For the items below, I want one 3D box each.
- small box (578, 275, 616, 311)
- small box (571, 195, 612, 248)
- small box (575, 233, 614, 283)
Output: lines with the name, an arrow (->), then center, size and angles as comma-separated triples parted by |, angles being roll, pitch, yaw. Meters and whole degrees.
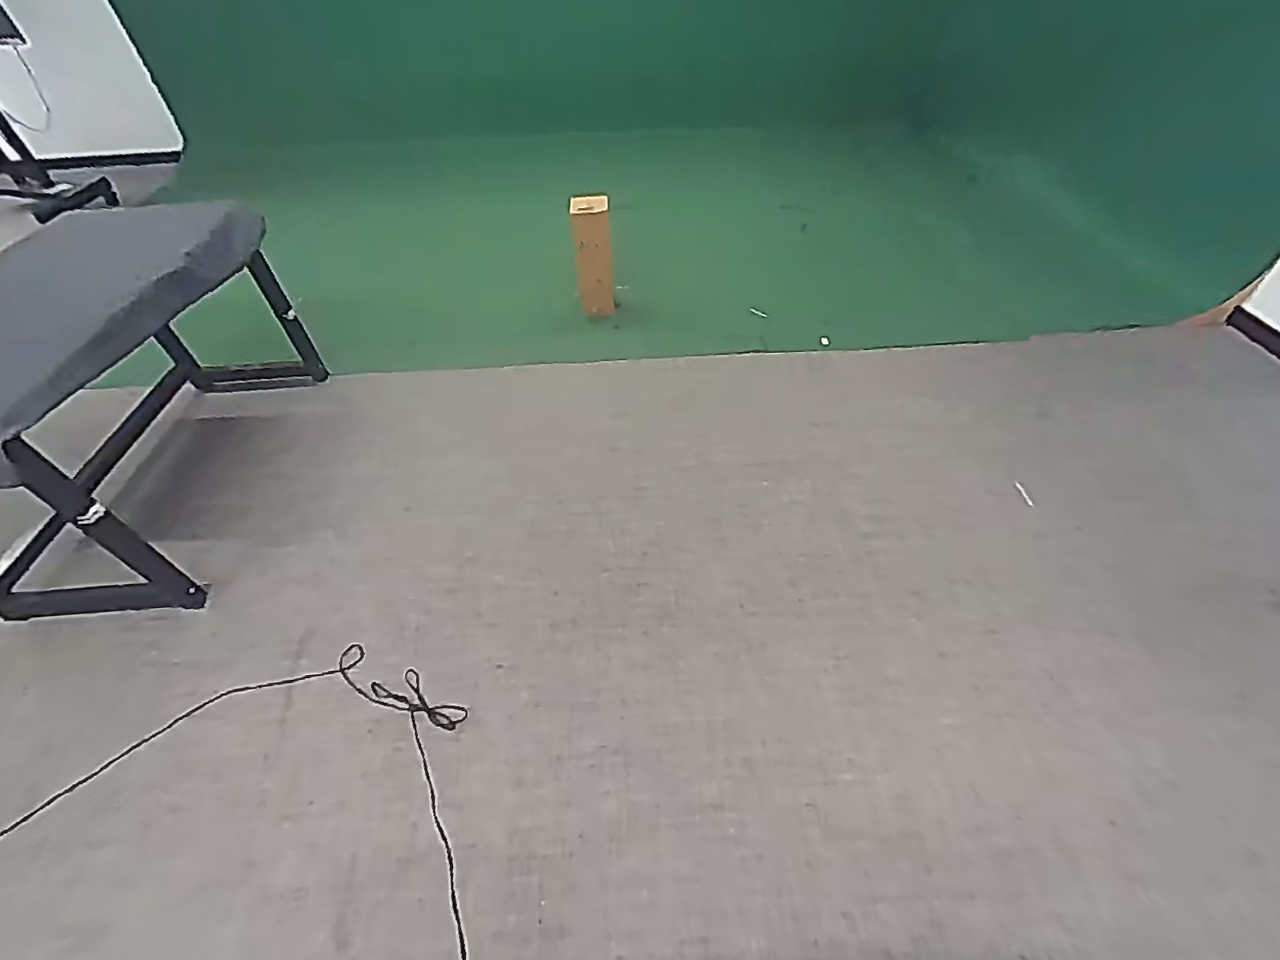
small box -> -0.209, -0.950, 2.660 | 0.168, 0.176, 0.179 | -3, 48, 2
small box -> -0.216, -1.161, 2.433 | 0.168, 0.176, 0.179 | -4, 47, 0
small box -> -0.210, -1.049, 2.554 | 0.168, 0.176, 0.179 | -3, 47, 1
